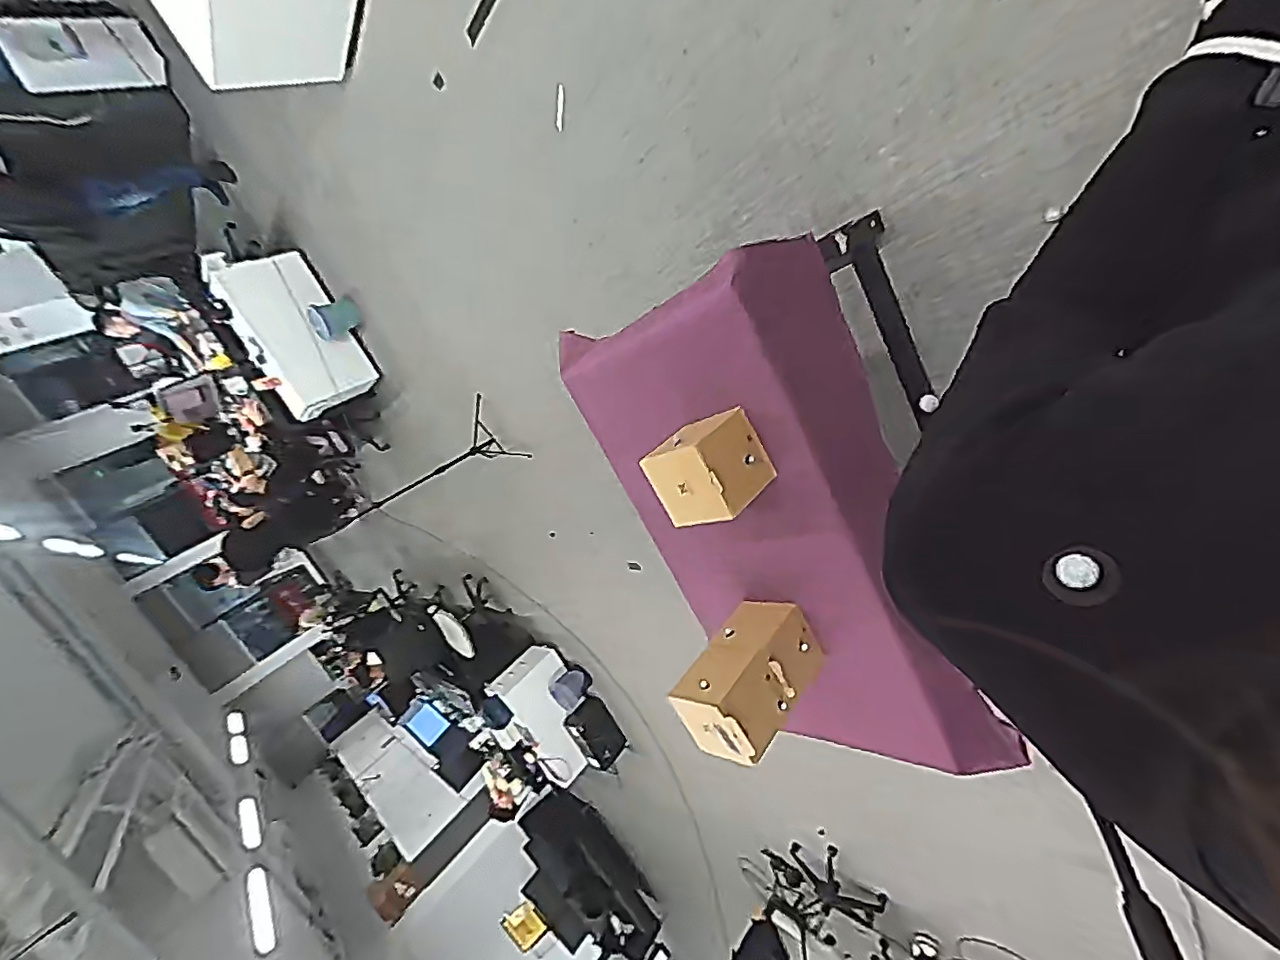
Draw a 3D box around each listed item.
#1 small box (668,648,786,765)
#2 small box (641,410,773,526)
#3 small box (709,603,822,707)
[{"bbox_3d":[0.204,0.500,1.220,0.179,0.176,0.168,-19,105,53],"label":"small box"},{"bbox_3d":[0.141,-0.024,1.122,0.179,0.176,0.168,-15,109,52],"label":"small box"},{"bbox_3d":[0.308,0.416,1.316,0.179,0.176,0.168,-13,111,51],"label":"small box"}]
